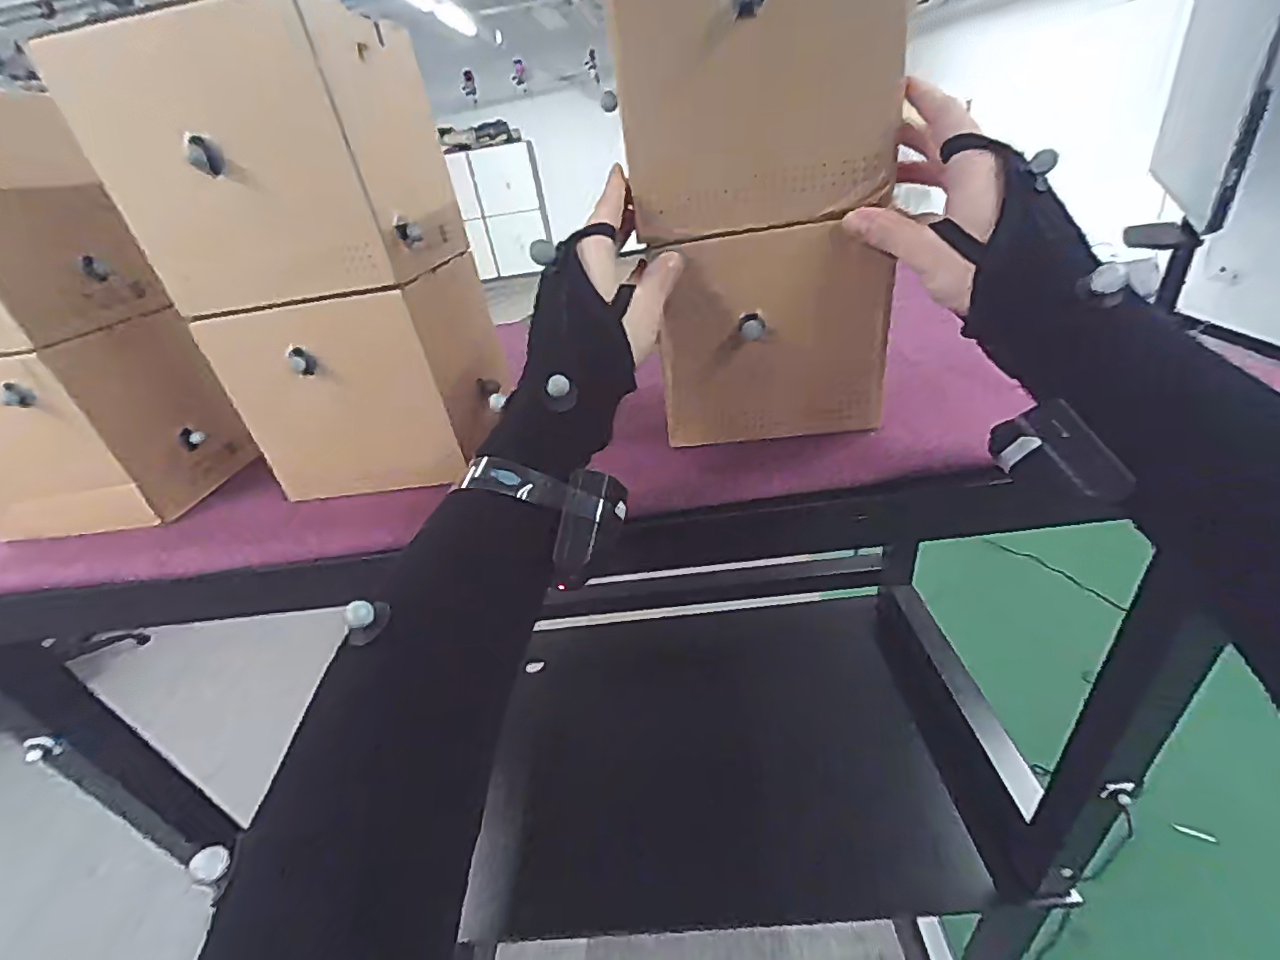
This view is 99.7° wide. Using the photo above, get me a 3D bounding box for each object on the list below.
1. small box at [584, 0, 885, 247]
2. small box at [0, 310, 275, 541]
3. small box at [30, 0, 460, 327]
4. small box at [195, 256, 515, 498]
[{"bbox_3d":[0.069,-0.281,0.394,0.179,0.176,0.168,-5,33,9],"label":"small box"},{"bbox_3d":[-0.519,-0.054,0.532,0.179,0.176,0.168,-6,32,6],"label":"small box"},{"bbox_3d":[-0.267,-0.233,0.423,0.179,0.176,0.168,-8,31,8],"label":"small box"},{"bbox_3d":[-0.240,-0.096,0.510,0.179,0.176,0.168,-7,32,7],"label":"small box"}]
